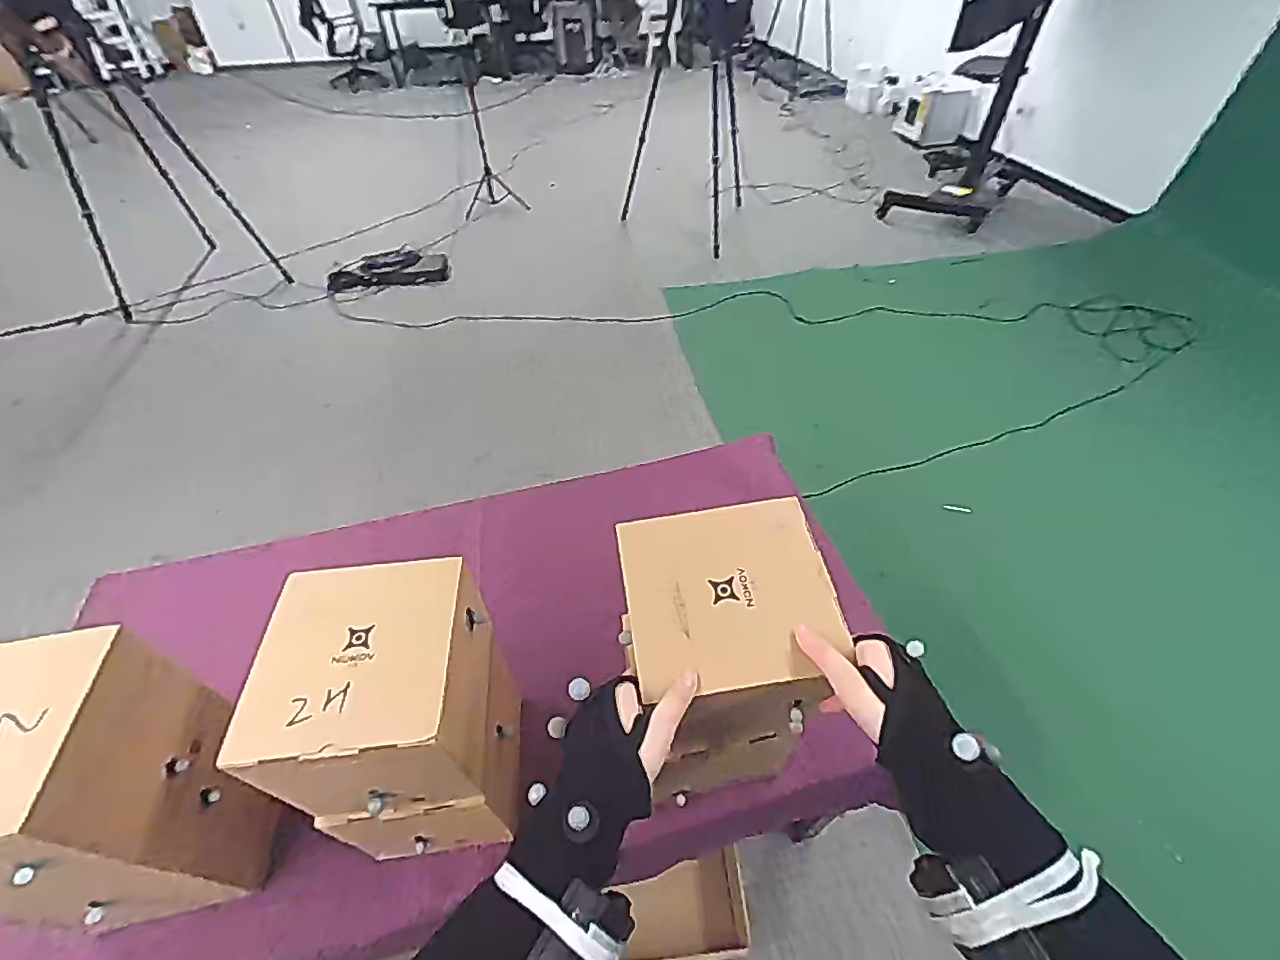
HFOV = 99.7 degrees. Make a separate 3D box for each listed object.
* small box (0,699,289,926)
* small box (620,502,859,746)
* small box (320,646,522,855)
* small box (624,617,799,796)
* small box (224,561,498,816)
[{"bbox_3d":[-0.528,0.371,0.601,0.179,0.176,0.168,-10,49,-7],"label":"small box"},{"bbox_3d":[0.081,0.145,0.527,0.179,0.176,0.168,-9,53,-1],"label":"small box"},{"bbox_3d":[-0.239,0.321,0.643,0.168,0.176,0.179,-5,48,-4],"label":"small box"},{"bbox_3d":[0.078,0.272,0.674,0.168,0.176,0.179,-10,47,-7],"label":"small box"},{"bbox_3d":[-0.241,0.203,0.527,0.168,0.176,0.179,-5,48,-2],"label":"small box"}]
